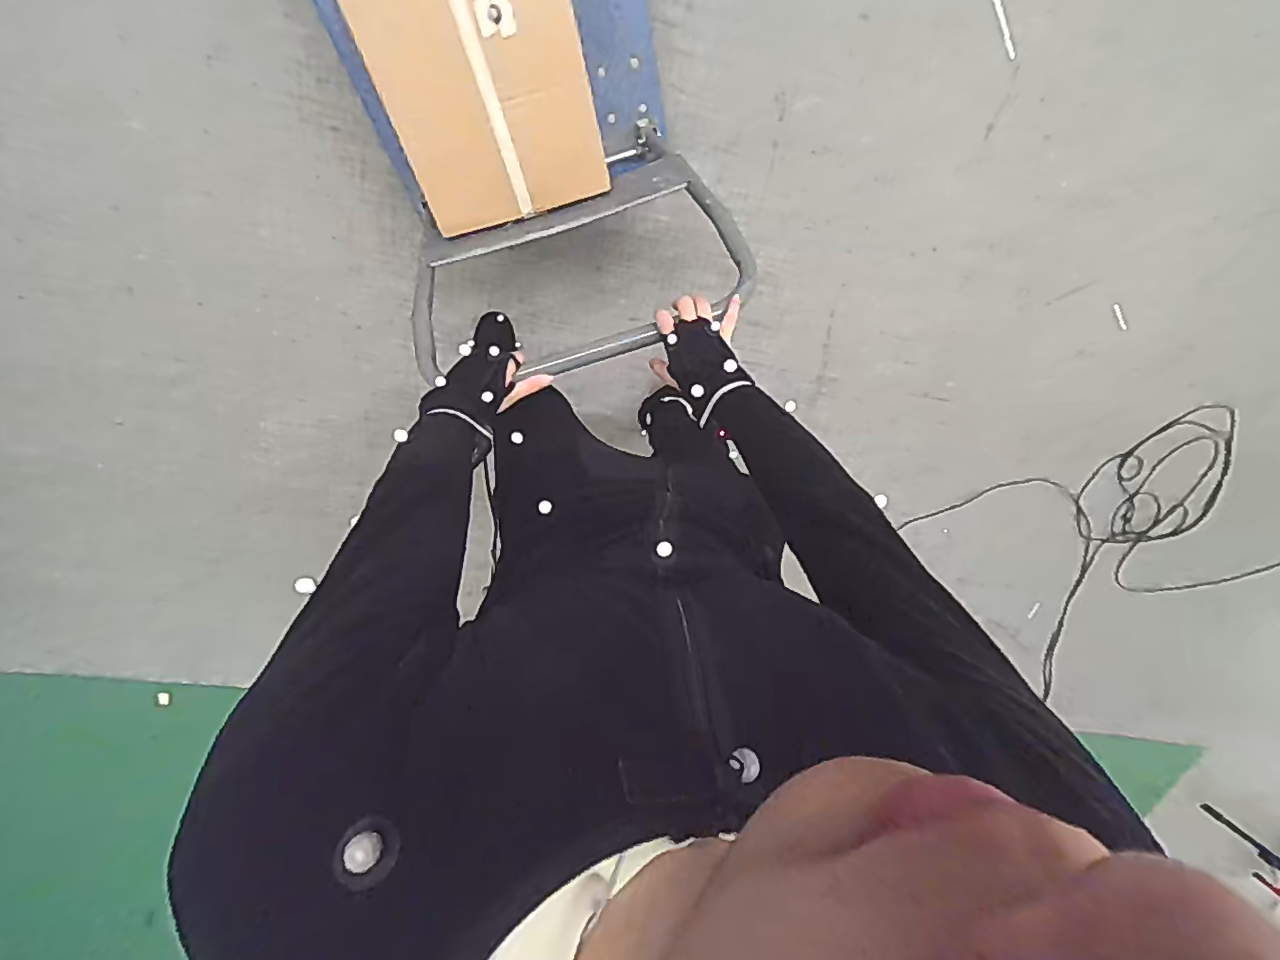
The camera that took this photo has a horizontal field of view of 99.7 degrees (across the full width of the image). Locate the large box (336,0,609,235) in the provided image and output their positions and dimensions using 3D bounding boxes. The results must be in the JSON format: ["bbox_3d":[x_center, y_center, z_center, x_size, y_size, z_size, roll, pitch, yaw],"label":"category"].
[{"bbox_3d":[-0.270,-0.712,0.933,0.320,0.320,0.408,-18,133,0],"label":"large box"}]
